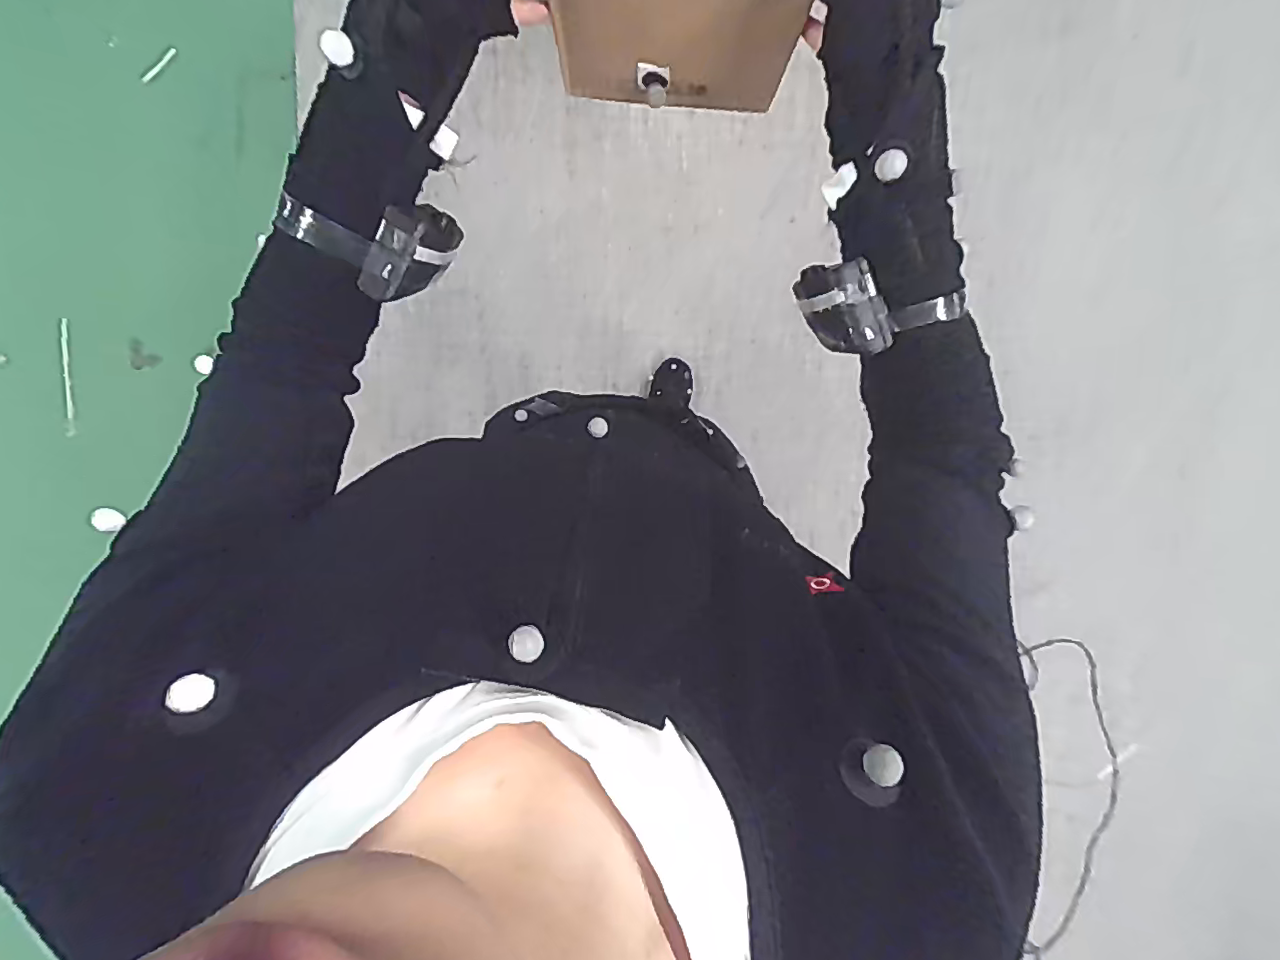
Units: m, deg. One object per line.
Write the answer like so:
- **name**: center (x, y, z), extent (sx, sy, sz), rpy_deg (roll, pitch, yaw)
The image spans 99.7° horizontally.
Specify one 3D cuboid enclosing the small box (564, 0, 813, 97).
- **small box**: center (0.034, -0.390, 0.344), extent (0.168, 0.176, 0.179), rpy_deg (4, 97, 0)
